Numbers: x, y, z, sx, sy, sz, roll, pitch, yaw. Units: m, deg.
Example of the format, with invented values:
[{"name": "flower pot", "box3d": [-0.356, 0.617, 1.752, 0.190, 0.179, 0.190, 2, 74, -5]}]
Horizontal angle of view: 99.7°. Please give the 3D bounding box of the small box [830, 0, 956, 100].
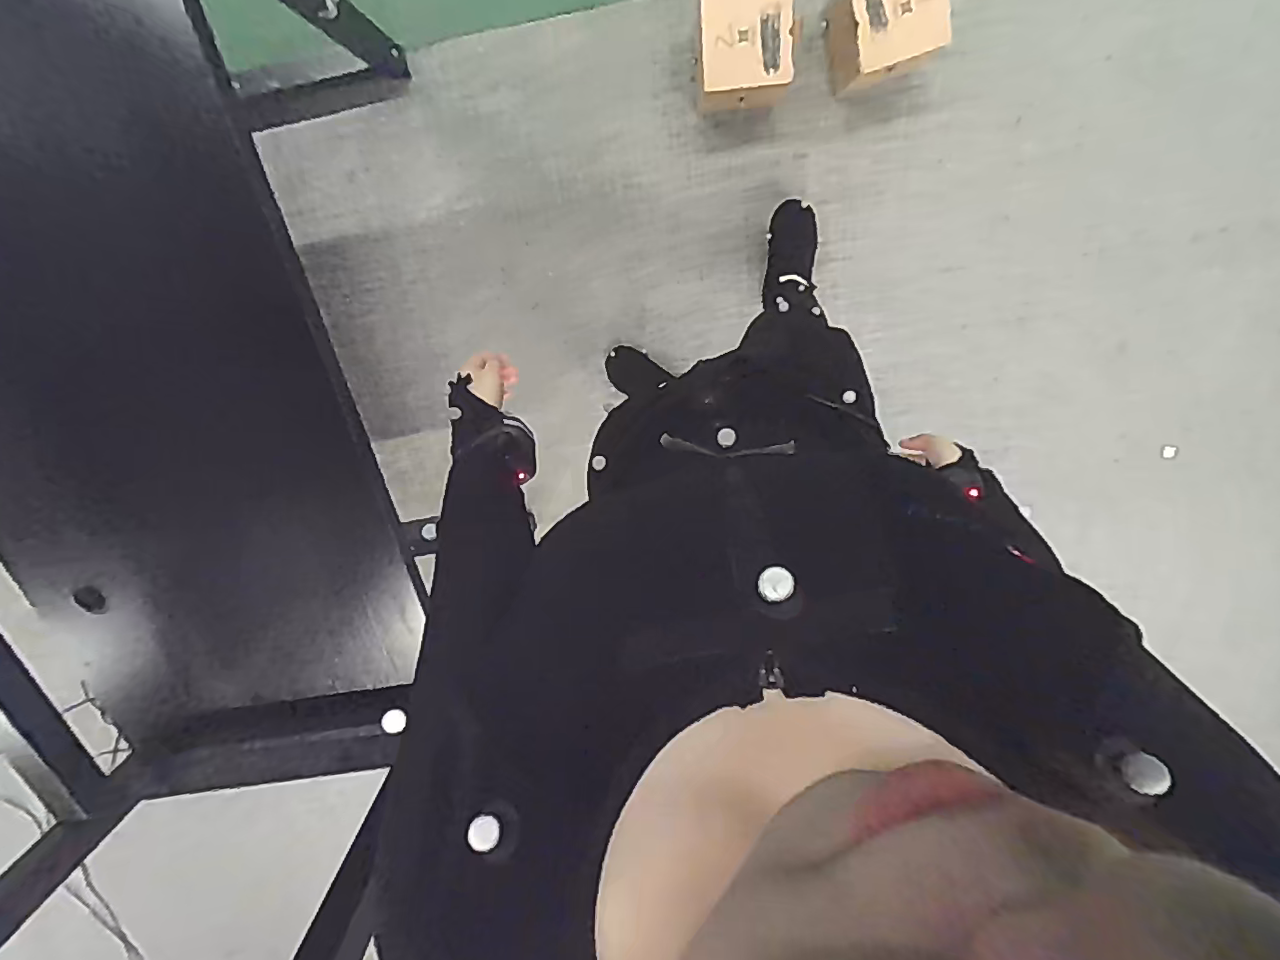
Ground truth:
[{"name": "small box", "box3d": [0.492, -0.893, 1.075, 0.179, 0.176, 0.168, -16, 111, 6]}]
